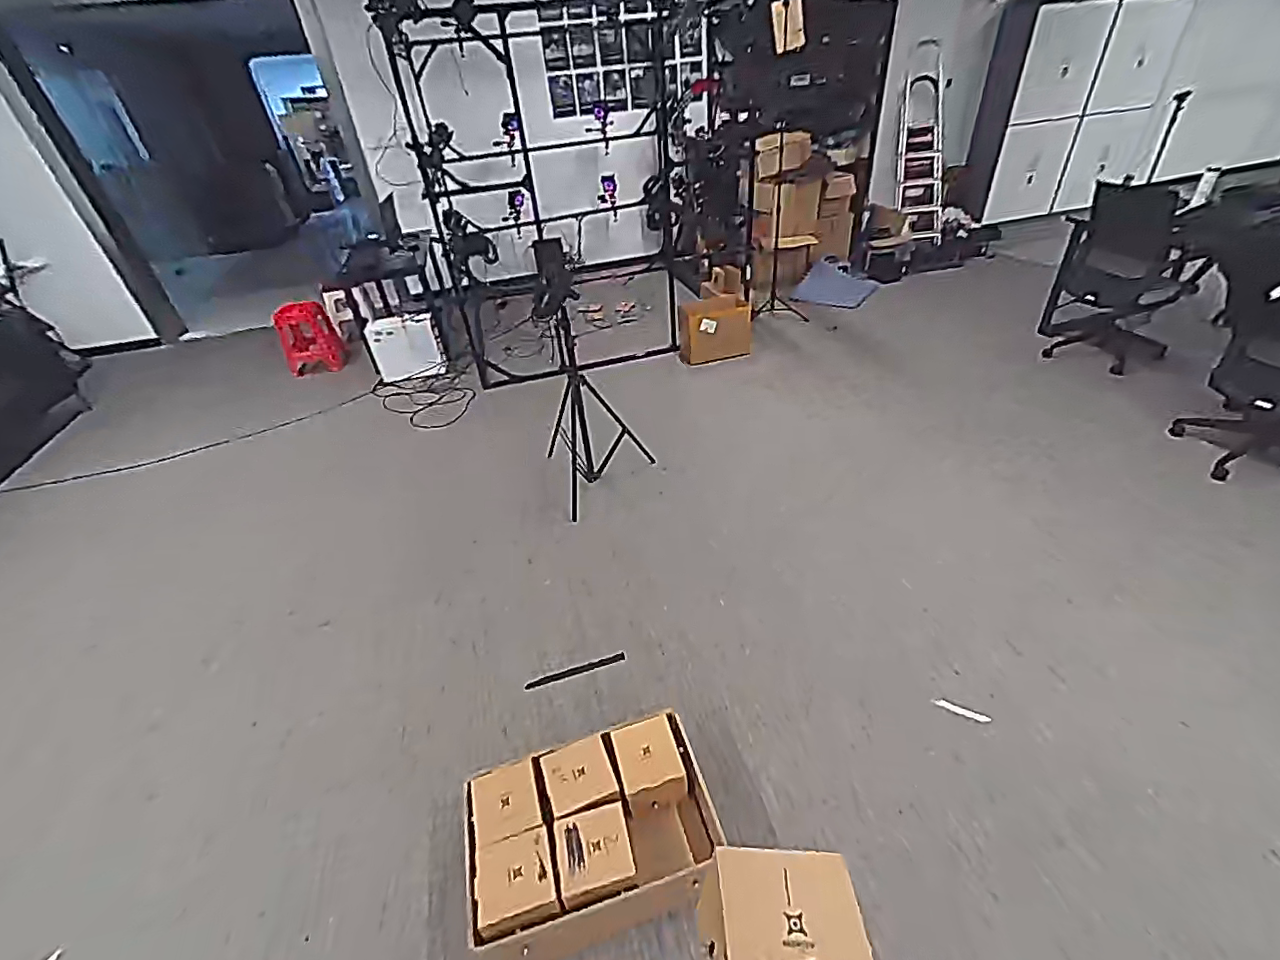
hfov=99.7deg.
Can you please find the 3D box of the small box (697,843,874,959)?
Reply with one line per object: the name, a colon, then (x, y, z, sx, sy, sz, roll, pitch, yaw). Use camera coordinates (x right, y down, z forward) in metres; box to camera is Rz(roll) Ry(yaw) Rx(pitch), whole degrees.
small box: (0.164, 0.568, 0.636, 0.168, 0.176, 0.179, 5, 29, -3)
